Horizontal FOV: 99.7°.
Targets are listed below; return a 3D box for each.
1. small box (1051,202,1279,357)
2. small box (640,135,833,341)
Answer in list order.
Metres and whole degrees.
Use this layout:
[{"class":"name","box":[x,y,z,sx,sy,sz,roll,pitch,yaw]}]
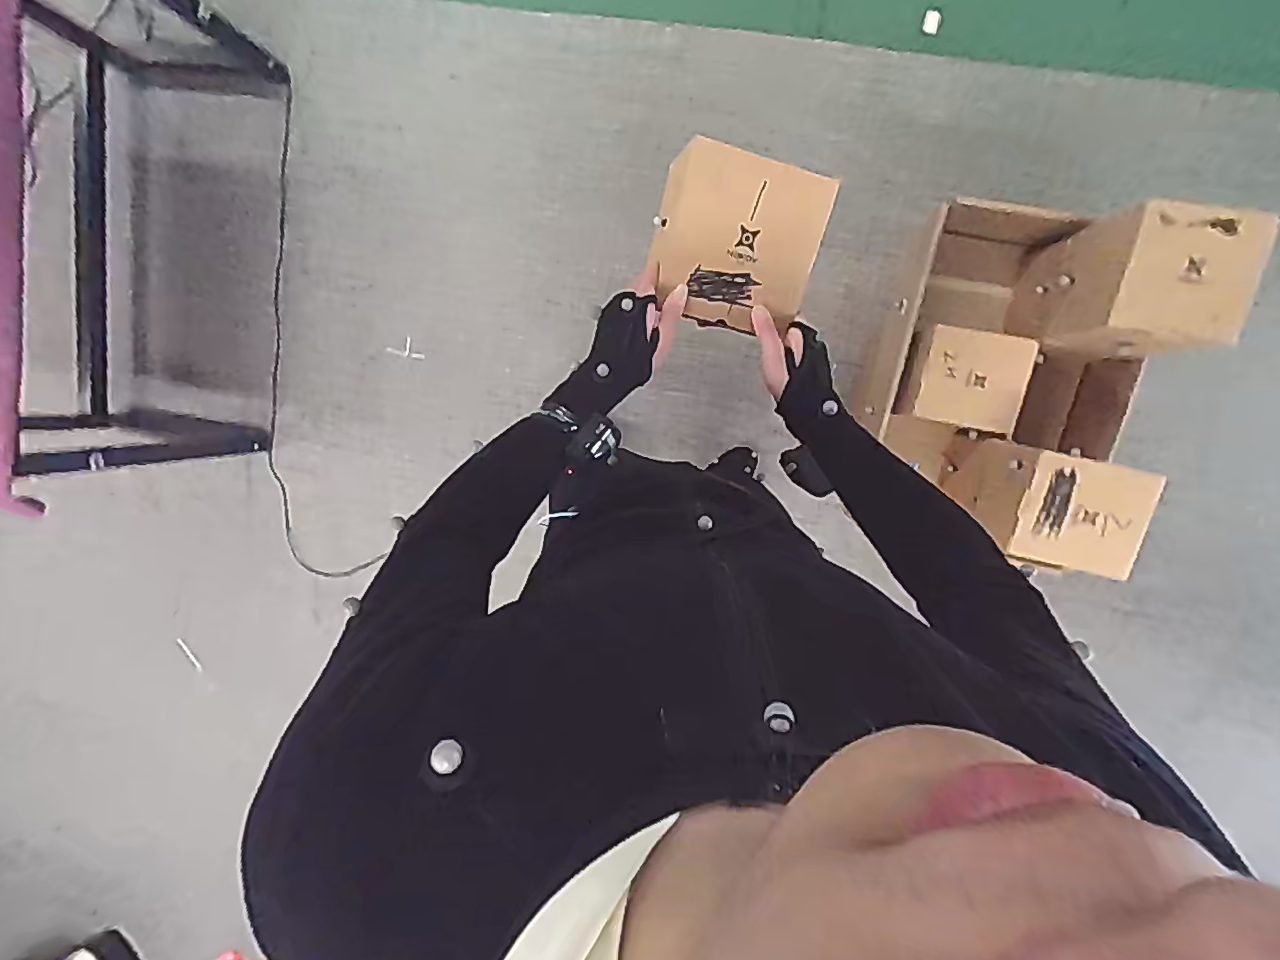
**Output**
[{"class":"small box","box":[0.772,-0.289,0.818,0.168,0.176,0.179,13,100,7]},{"class":"small box","box":[0.100,-0.282,0.659,0.168,0.176,0.179,10,109,-10]}]
